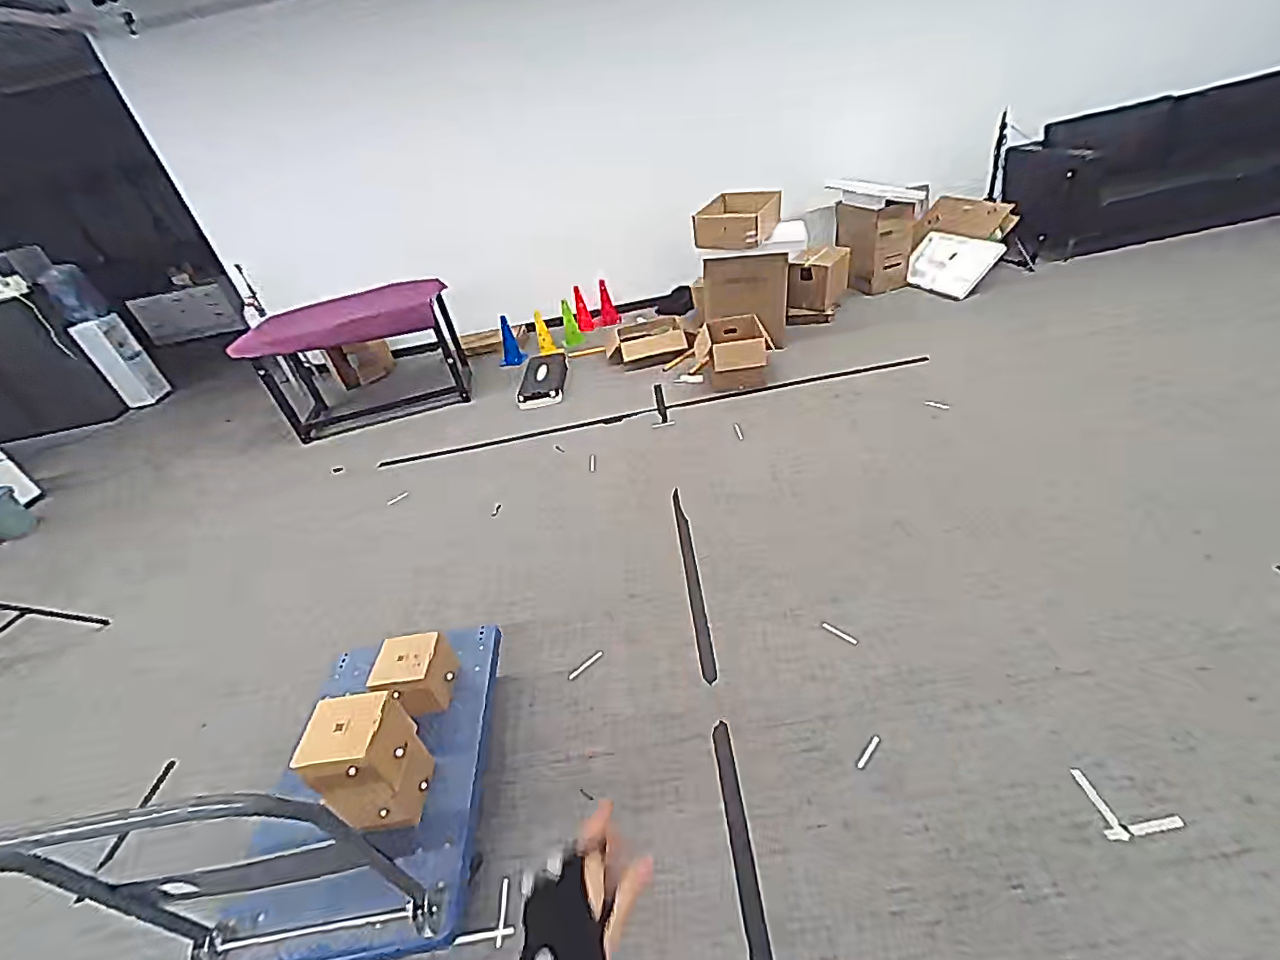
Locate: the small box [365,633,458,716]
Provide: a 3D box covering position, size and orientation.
[{"bbox_3d":[-0.672,0.583,1.611,0.179,0.176,0.168,-9,36,4],"label":"small box"}]

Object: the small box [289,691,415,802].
[{"bbox_3d":[-0.663,0.626,1.266,0.179,0.176,0.168,-9,35,2],"label":"small box"}]
